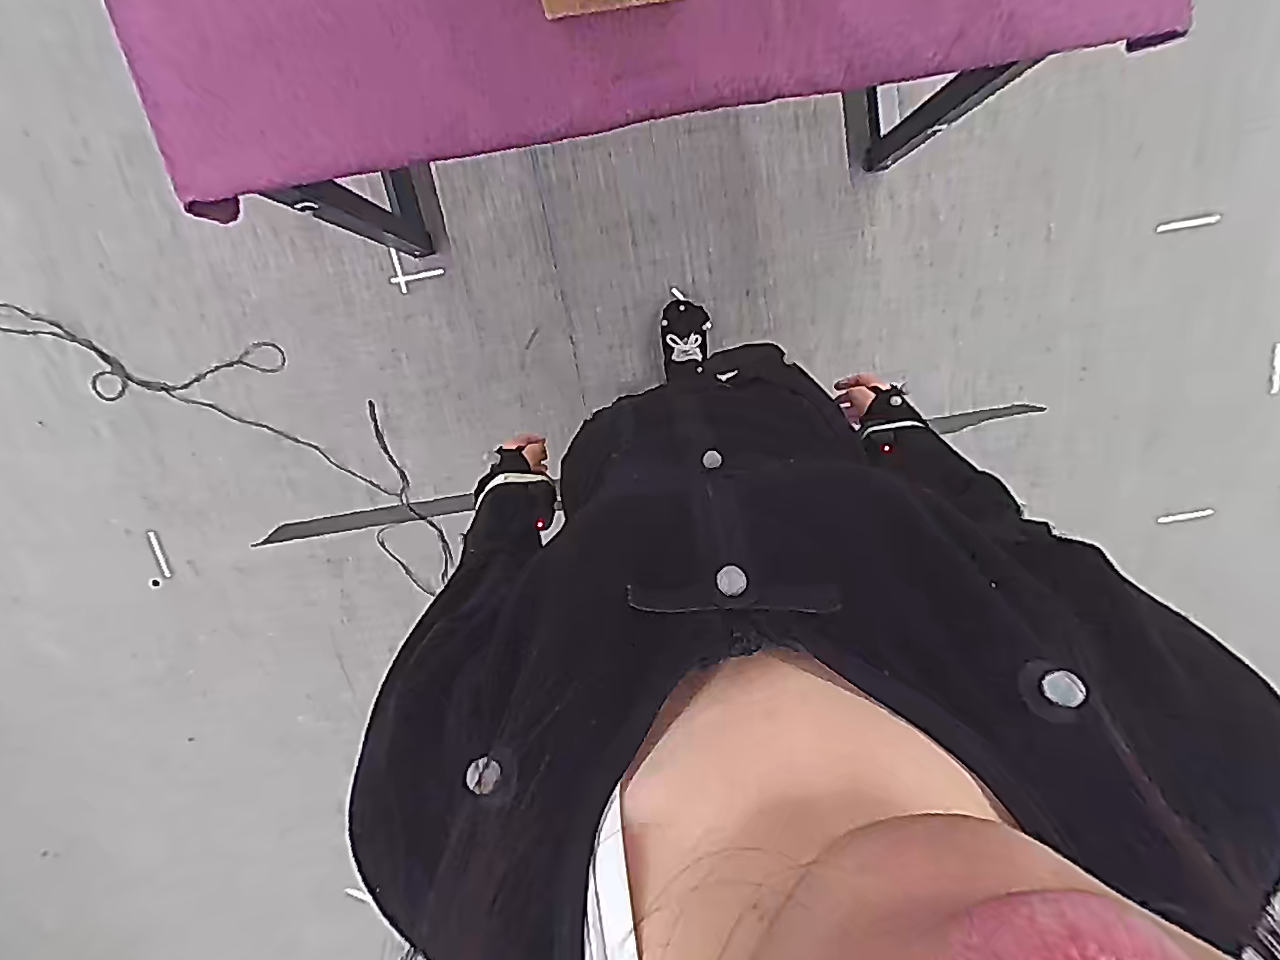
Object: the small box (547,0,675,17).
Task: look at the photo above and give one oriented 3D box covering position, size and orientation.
[{"bbox_3d":[-0.036,-0.603,0.519,0.168,0.176,0.179,-8,103,1],"label":"small box"}]
